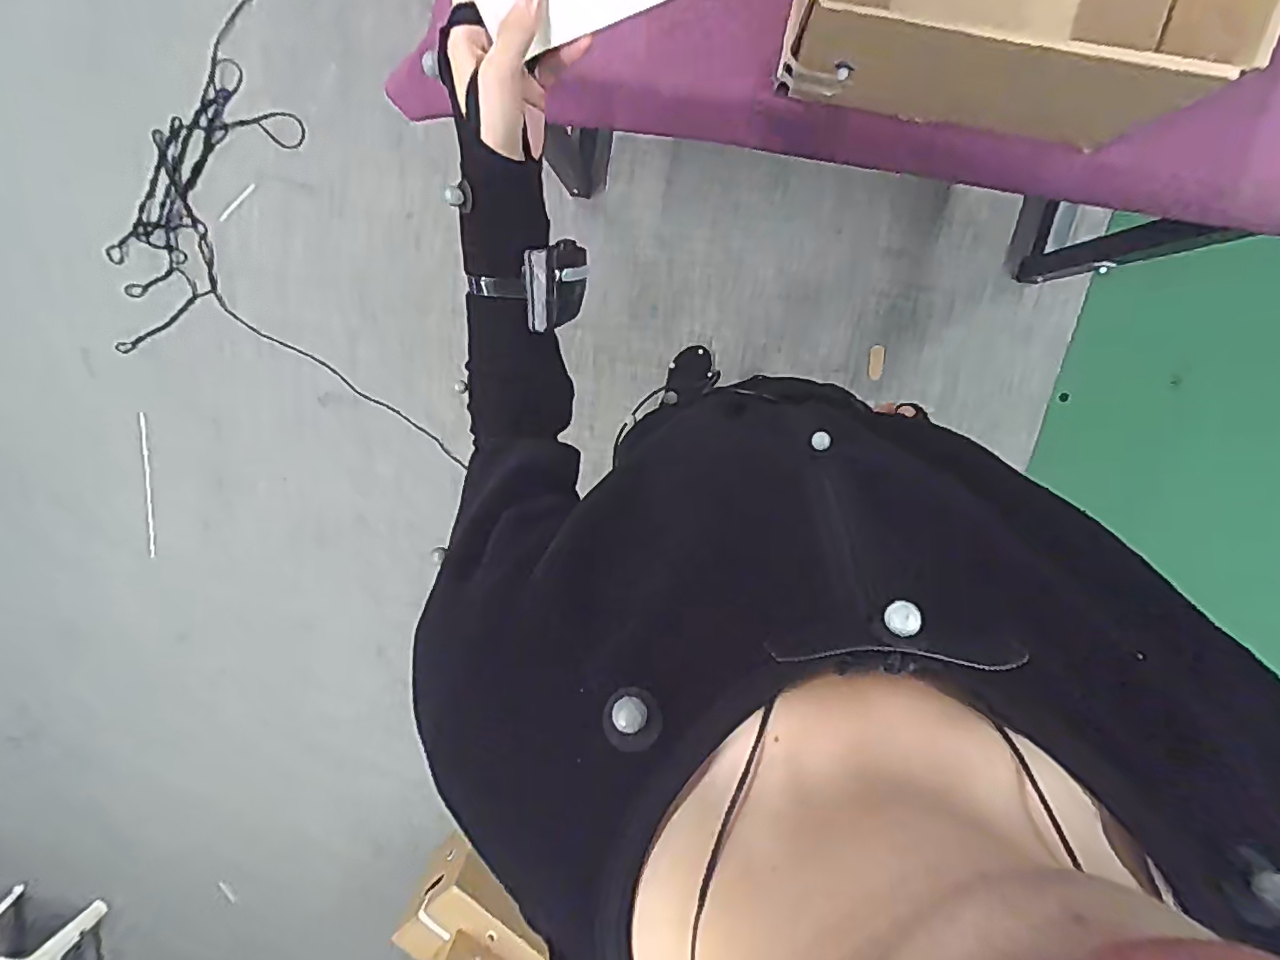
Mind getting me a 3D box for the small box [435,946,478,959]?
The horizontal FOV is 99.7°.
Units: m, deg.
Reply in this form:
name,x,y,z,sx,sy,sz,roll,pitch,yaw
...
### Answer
name,x,y,z,sx,sy,sz,roll,pitch,yaw
small box,-0.521,1.423,1.467,0.179,0.176,0.168,40,104,-3
